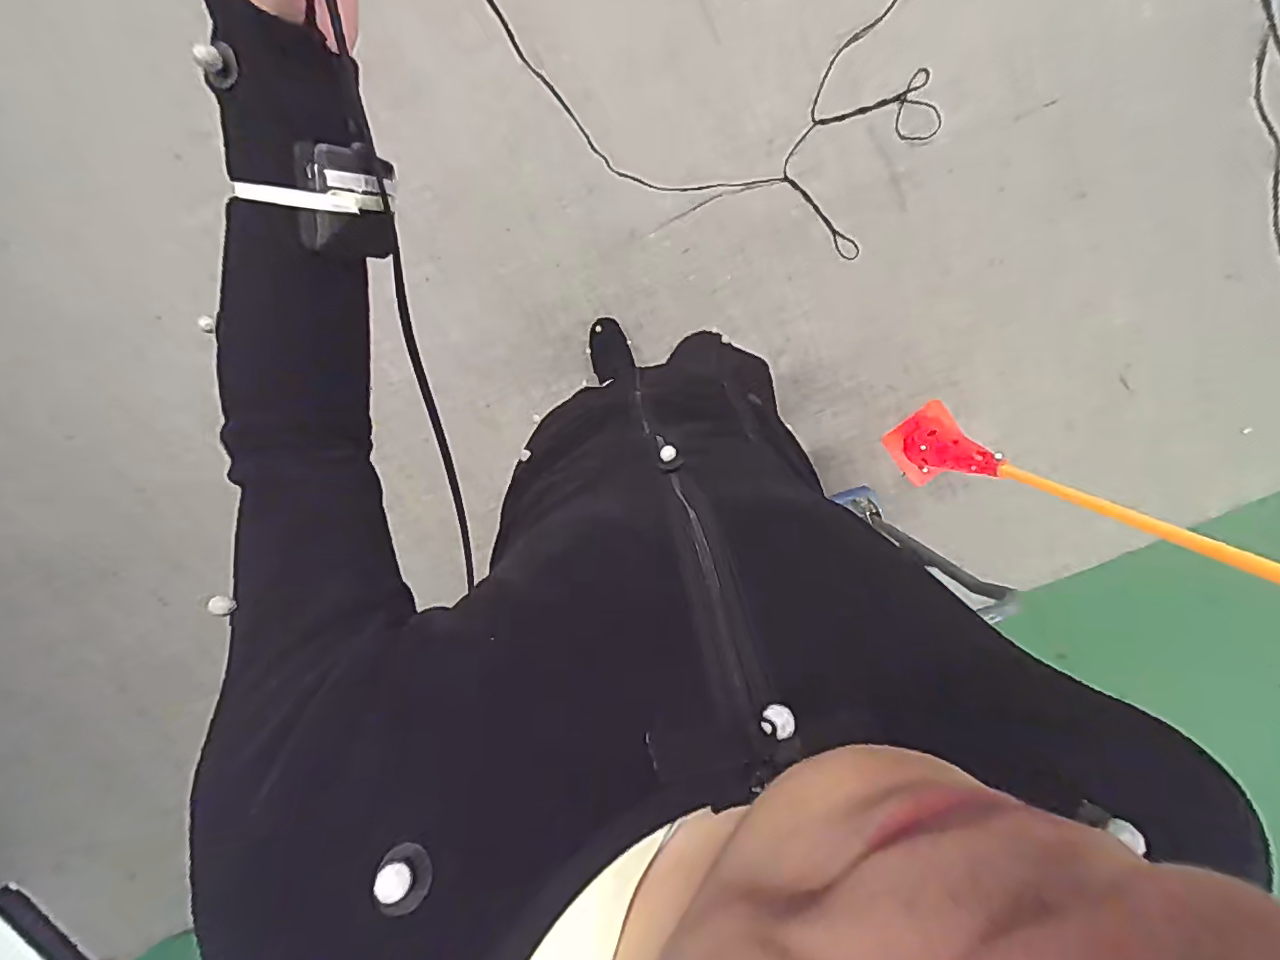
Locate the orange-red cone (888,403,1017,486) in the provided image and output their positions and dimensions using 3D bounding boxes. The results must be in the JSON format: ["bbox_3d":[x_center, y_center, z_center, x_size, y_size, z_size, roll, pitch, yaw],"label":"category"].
[{"bbox_3d":[0.859,-0.063,1.431,0.199,0.360,0.198,-38,102,7],"label":"orange-red cone"}]
